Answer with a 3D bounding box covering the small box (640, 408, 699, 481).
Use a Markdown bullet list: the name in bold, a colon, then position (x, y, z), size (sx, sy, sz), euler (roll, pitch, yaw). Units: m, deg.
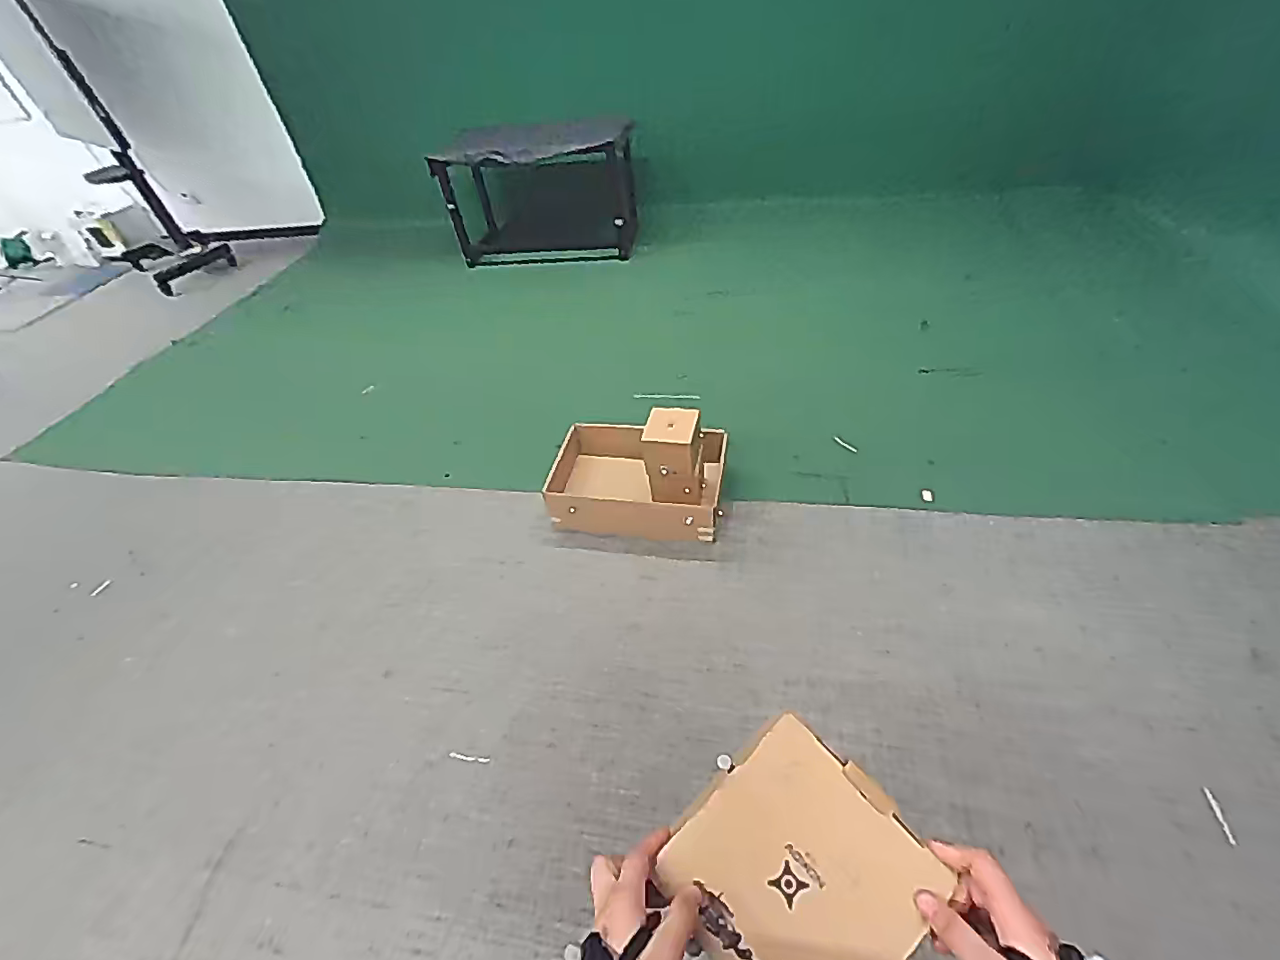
- **small box**: position (0.108, -0.121, 1.834), size (0.168, 0.176, 0.179), euler (5, 47, 15)
